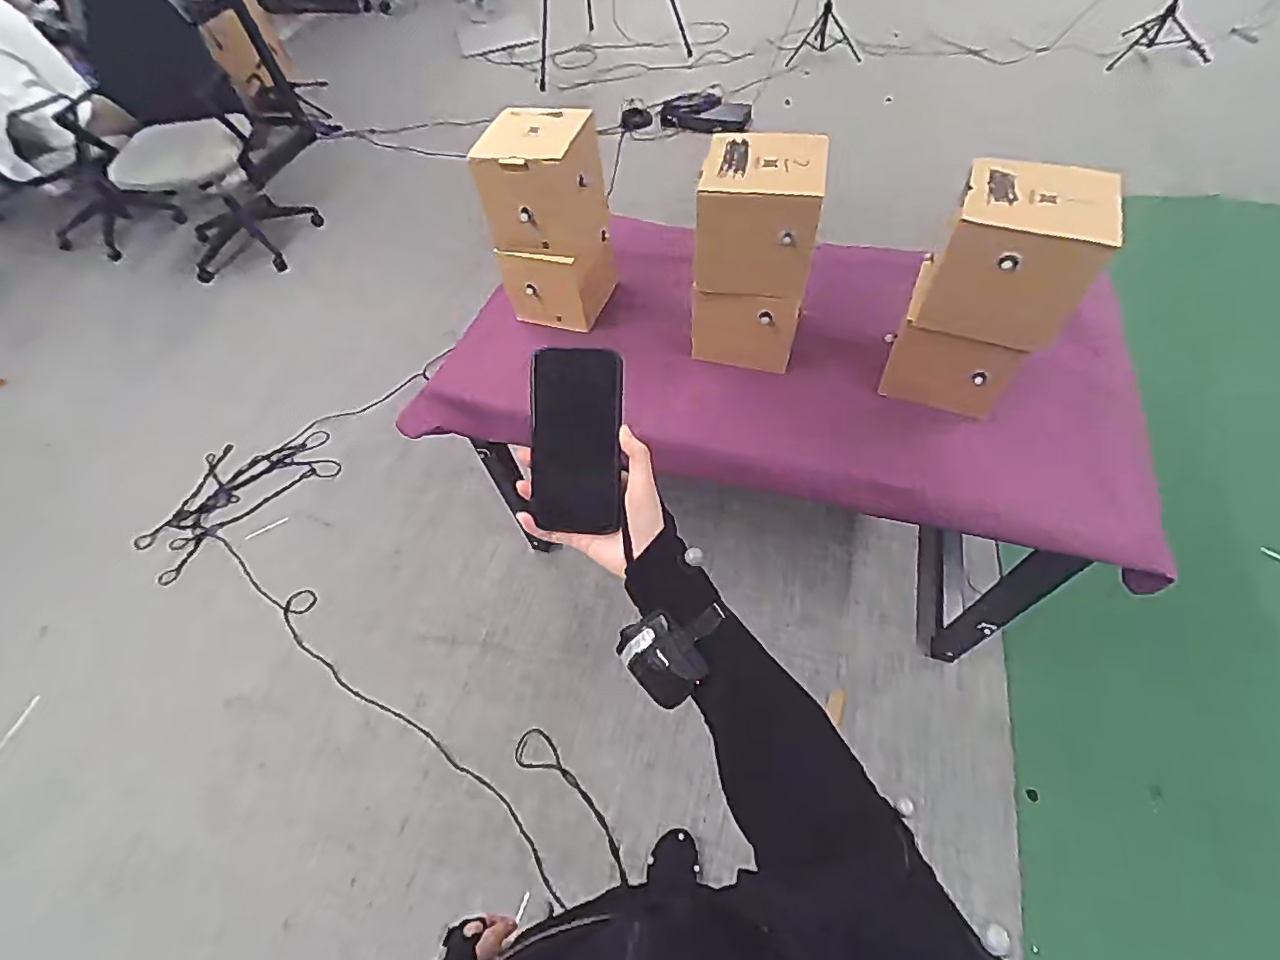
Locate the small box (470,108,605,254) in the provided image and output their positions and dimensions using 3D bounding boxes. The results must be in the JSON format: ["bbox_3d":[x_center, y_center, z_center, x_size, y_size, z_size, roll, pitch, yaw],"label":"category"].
[{"bbox_3d":[-0.168,-0.525,0.958,0.168,0.176,0.179,10,59,12],"label":"small box"}]

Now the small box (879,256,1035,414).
[{"bbox_3d":[0.520,-0.233,0.888,0.179,0.176,0.168,19,60,19],"label":"small box"}]

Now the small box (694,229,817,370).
[{"bbox_3d":[0.204,-0.323,0.980,0.179,0.176,0.168,14,59,15],"label":"small box"}]

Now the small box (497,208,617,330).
[{"bbox_3d":[-0.156,-0.428,1.090,0.168,0.176,0.179,14,59,15],"label":"small box"}]

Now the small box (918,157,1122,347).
[{"bbox_3d":[0.508,-0.309,0.743,0.179,0.176,0.168,19,60,17],"label":"small box"}]
